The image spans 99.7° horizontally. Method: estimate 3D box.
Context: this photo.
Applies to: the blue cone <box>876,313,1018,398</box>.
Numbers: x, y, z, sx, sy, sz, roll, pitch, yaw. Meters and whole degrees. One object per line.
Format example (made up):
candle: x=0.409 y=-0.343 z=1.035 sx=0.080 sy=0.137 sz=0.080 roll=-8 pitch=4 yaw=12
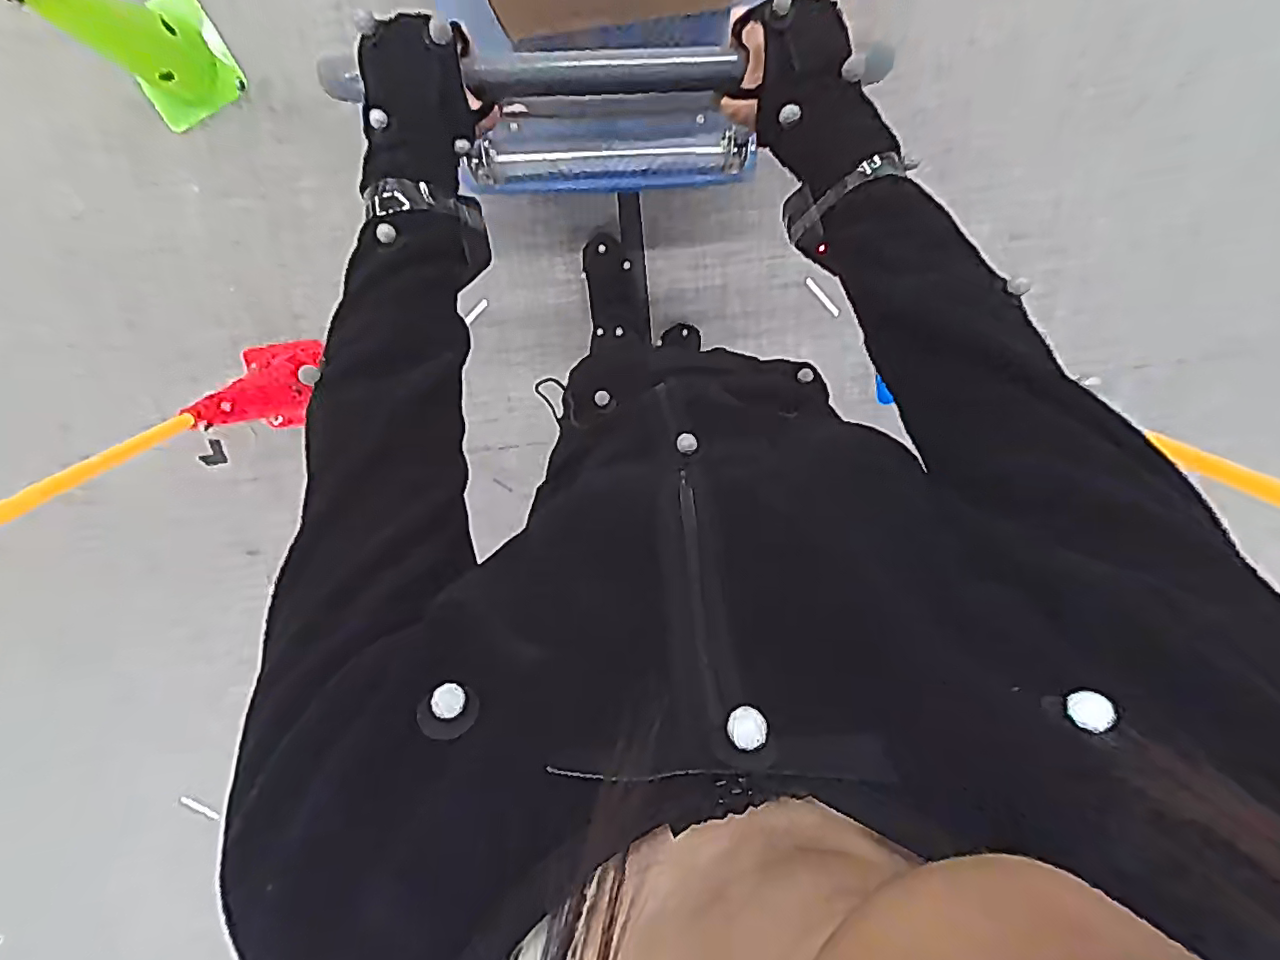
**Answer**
blue cone: x=0.701 y=-0.255 z=1.209 sx=0.193 sy=0.380 sz=0.192 roll=-10 pitch=109 yaw=1
